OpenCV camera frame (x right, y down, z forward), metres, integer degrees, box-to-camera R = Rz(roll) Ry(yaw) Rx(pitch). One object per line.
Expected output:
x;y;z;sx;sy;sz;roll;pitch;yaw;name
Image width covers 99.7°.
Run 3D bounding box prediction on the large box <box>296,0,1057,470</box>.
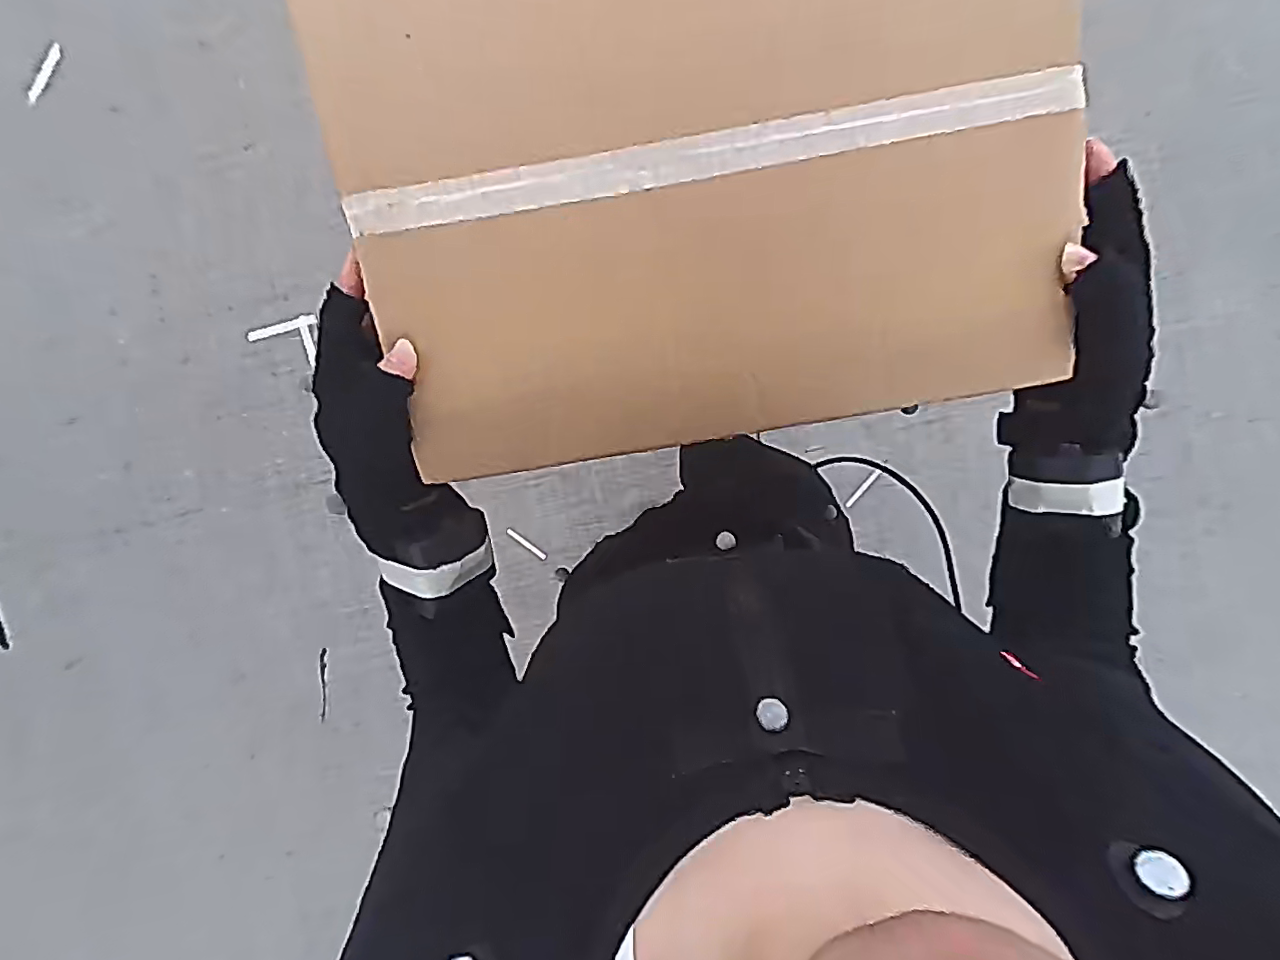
0.031;-0.225;0.448;0.408;0.320;0.320;-9;105;1;large box
